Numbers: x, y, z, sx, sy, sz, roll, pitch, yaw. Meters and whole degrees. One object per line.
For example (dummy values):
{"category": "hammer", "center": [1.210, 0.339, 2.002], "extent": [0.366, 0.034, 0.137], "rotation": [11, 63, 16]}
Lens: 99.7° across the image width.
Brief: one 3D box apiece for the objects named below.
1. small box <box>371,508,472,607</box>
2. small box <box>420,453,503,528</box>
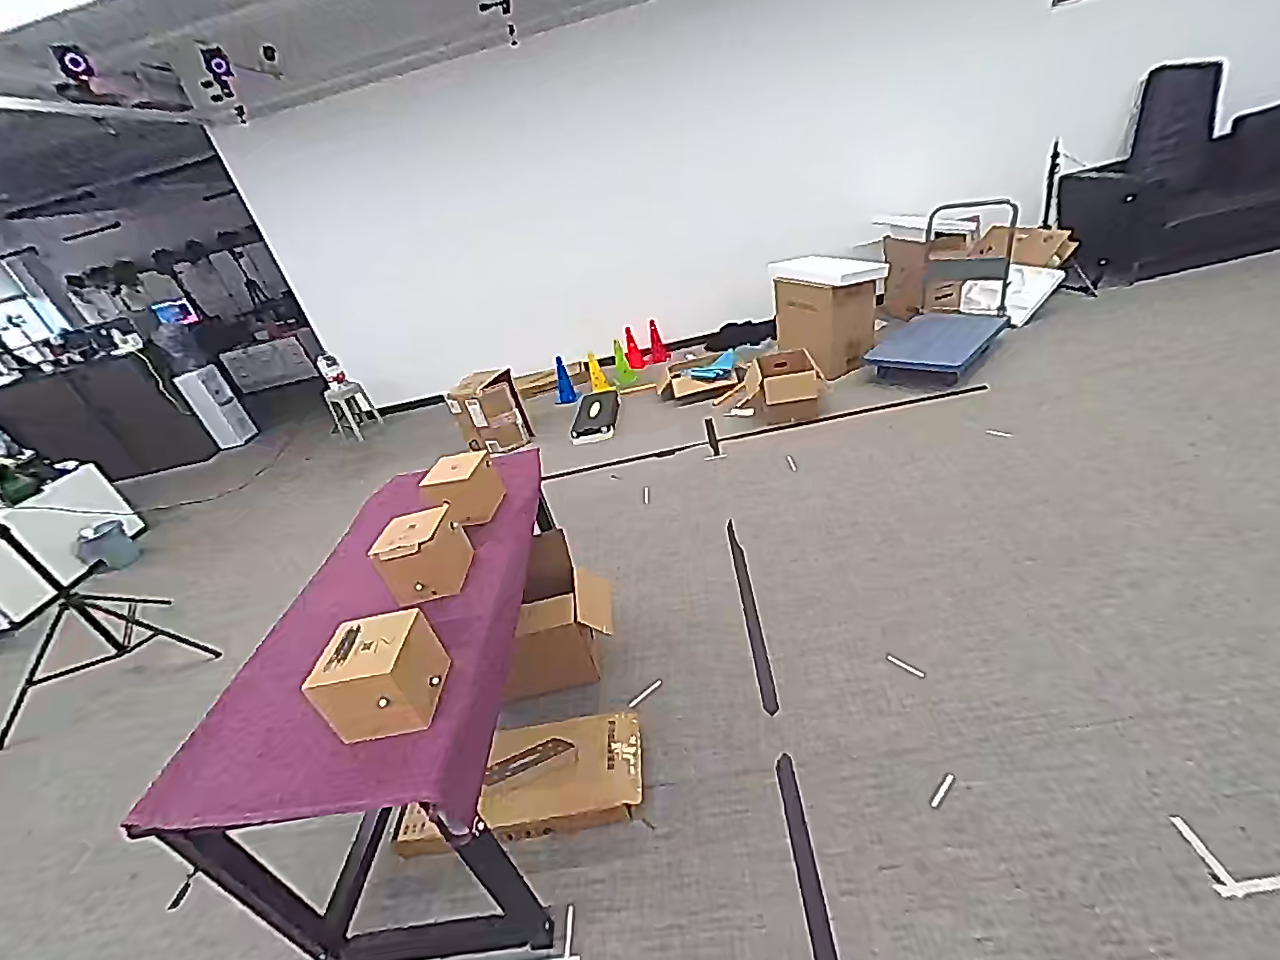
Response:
{"category": "small box", "center": [-0.560, 0.202, 1.416], "extent": [0.168, 0.176, 0.179], "rotation": [-15, 30, 6]}
{"category": "small box", "center": [-0.547, 0.039, 1.690], "extent": [0.168, 0.176, 0.179], "rotation": [-9, 30, 11]}
